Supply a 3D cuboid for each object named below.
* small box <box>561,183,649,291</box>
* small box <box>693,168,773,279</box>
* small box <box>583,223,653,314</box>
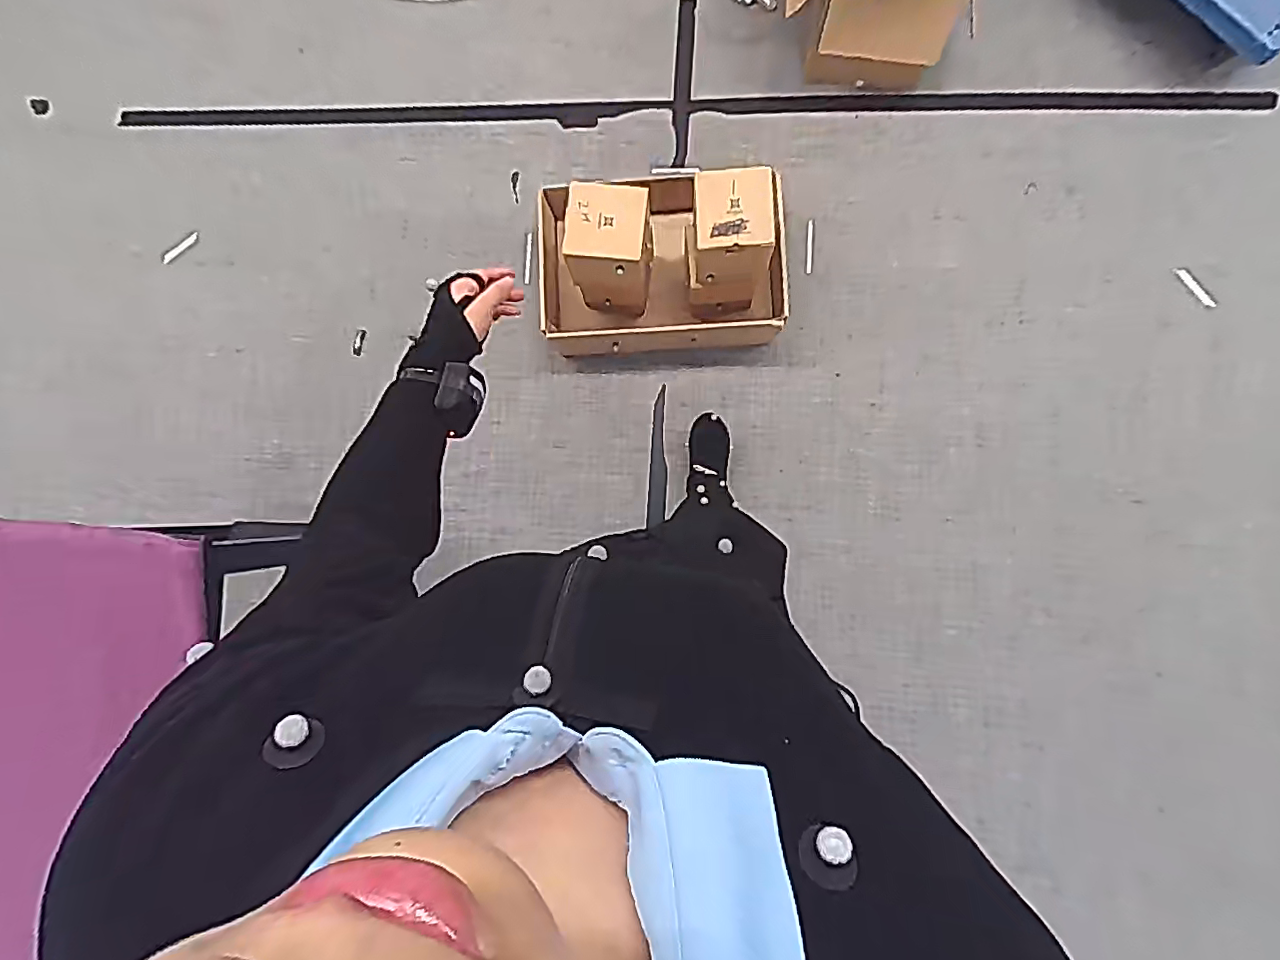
[{"bbox_3d":[-0.073,-0.552,1.248,0.179,0.176,0.168,6,86,3],"label":"small box"},{"bbox_3d":[0.206,-0.570,1.228,0.168,0.176,0.179,-2,85,4],"label":"small box"},{"bbox_3d":[-0.060,-0.558,1.414,0.168,0.176,0.179,8,87,3],"label":"small box"}]
